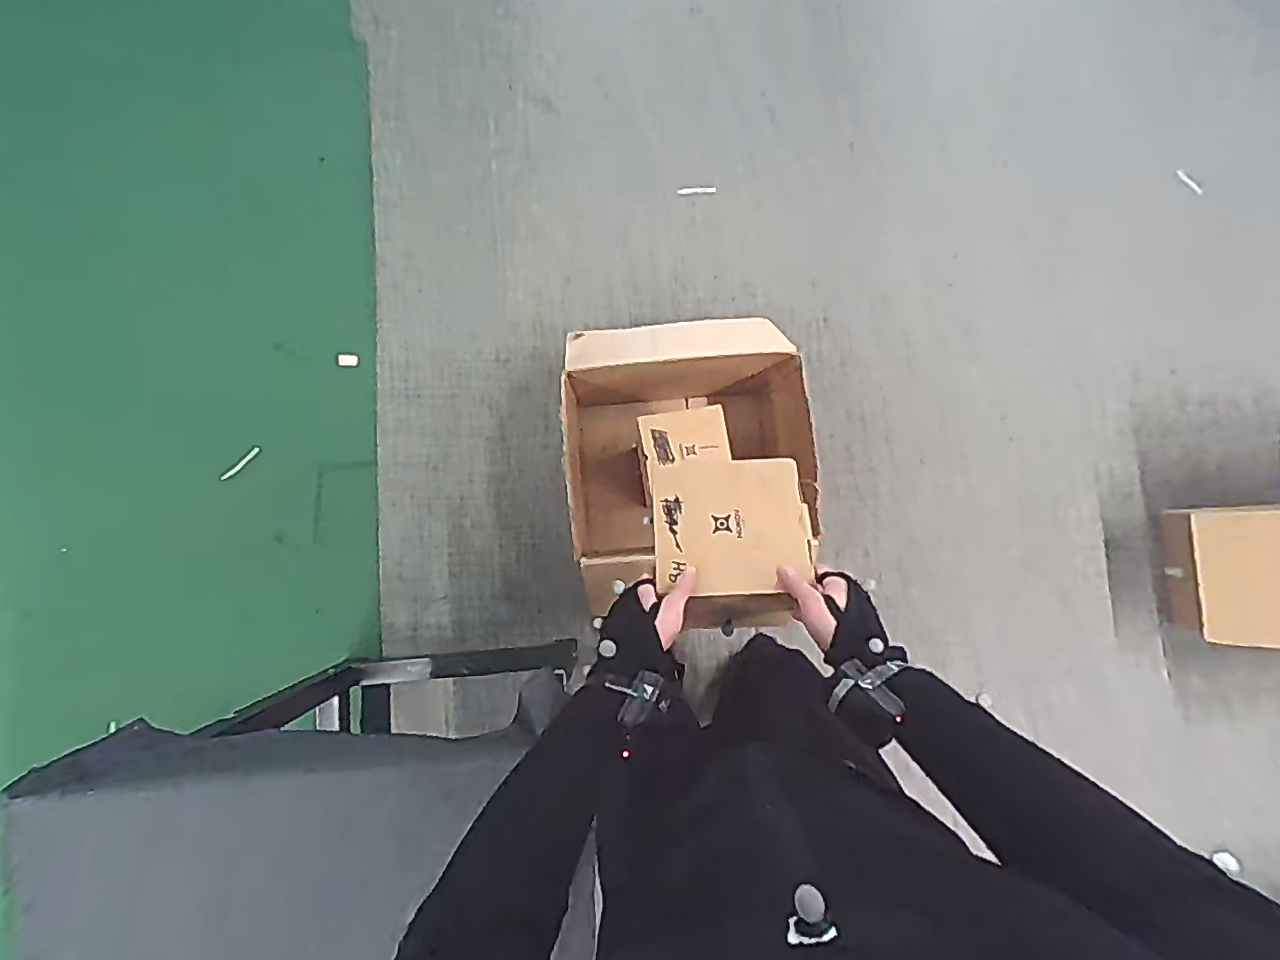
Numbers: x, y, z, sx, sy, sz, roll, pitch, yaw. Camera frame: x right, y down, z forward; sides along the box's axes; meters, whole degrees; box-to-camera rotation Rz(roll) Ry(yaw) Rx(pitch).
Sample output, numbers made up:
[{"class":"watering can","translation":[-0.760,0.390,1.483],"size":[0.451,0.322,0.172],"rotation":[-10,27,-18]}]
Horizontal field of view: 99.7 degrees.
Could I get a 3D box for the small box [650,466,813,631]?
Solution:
[{"class":"small box","translation":[0.106,0.095,0.705],"size":[0.179,0.176,0.168],"rotation":[-4,63,1]}]
